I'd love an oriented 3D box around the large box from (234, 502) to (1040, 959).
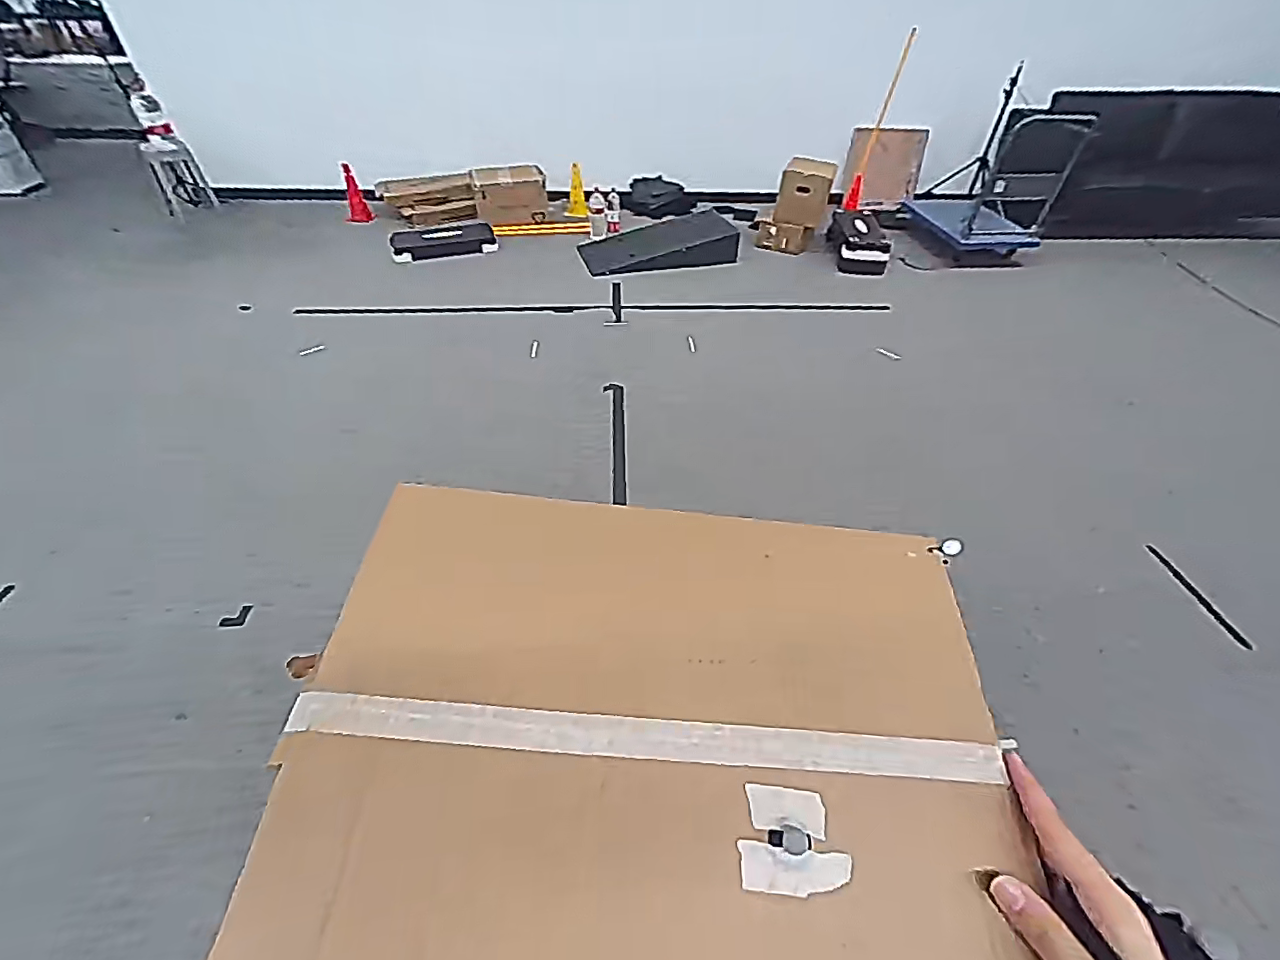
[{"bbox_3d":[-0.004,0.242,0.441,0.408,0.320,0.320,6,55,-3],"label":"large box"}]
